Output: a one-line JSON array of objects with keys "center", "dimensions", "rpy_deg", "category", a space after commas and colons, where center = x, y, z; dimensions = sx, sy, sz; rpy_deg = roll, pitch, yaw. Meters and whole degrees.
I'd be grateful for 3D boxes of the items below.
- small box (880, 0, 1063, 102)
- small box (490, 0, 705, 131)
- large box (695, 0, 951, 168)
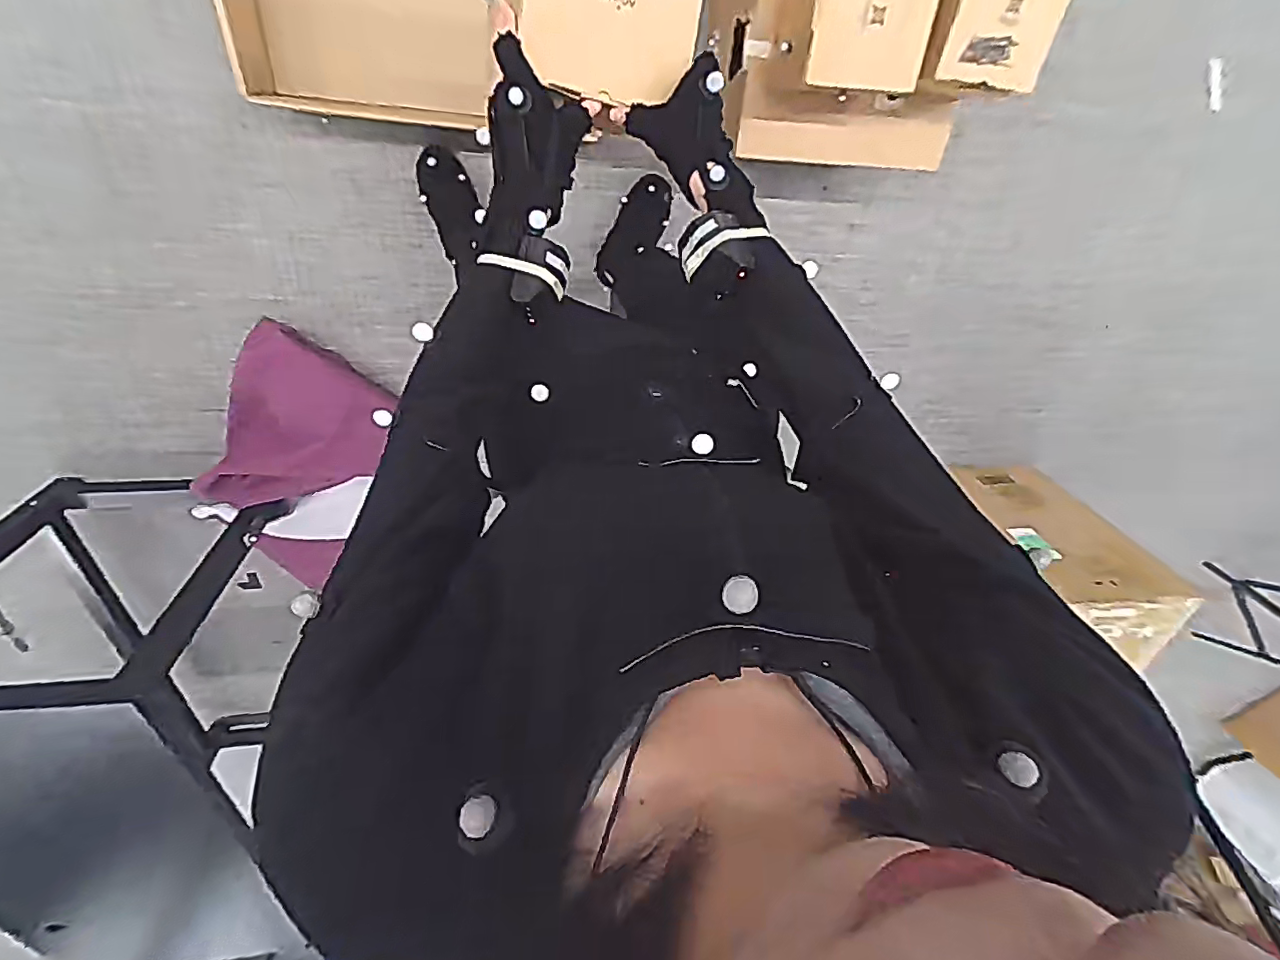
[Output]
[{"center": [0.503, -0.702, 0.834], "dimensions": [0.168, 0.176, 0.179], "rpy_deg": [2, 122, -11], "category": "small box"}, {"center": [-0.048, -0.463, 0.529], "dimensions": [0.168, 0.176, 0.179], "rpy_deg": [-1, 117, -26], "category": "small box"}, {"center": [0.343, -0.794, 1.040], "dimensions": [0.408, 0.320, 0.320], "rpy_deg": [-3, 125, -10], "category": "large box"}]
